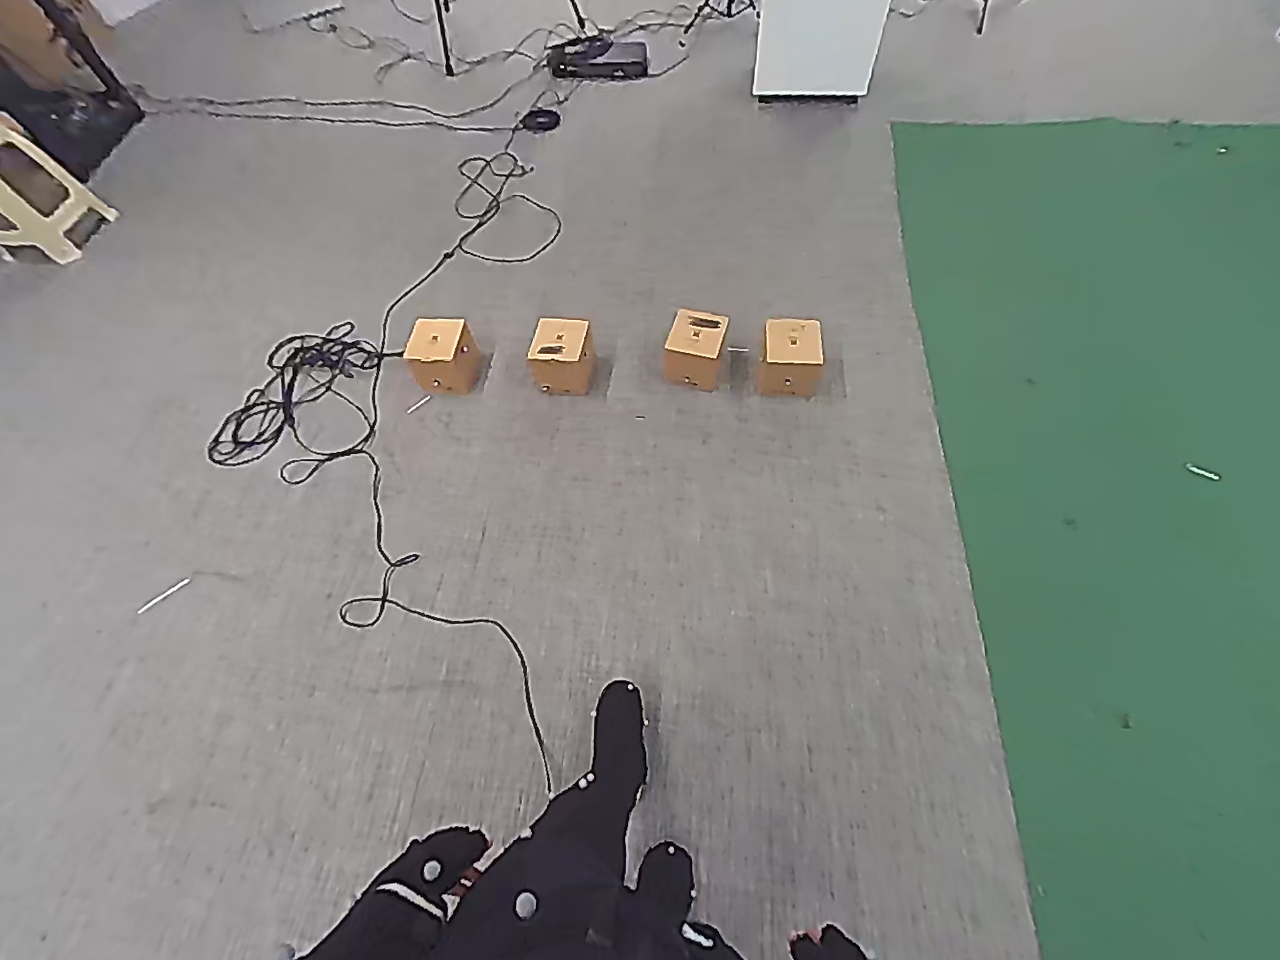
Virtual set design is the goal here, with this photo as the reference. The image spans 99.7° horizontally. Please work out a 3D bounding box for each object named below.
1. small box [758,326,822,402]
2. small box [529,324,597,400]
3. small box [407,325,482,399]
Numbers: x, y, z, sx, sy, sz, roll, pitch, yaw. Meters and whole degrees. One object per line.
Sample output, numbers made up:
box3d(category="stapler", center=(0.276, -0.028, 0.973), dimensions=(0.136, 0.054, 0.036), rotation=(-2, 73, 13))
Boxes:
box3d(category="small box", center=(0.471, -0.364, 1.712), dimensions=(0.168, 0.176, 0.179), rotation=(3, 61, 5))
box3d(category="small box", center=(-0.245, -0.383, 1.773), dimensions=(0.168, 0.176, 0.179), rotation=(6, 61, 8))
box3d(category="small box", center=(-0.646, -0.394, 1.812), dimensions=(0.168, 0.176, 0.179), rotation=(2, 62, 6))
